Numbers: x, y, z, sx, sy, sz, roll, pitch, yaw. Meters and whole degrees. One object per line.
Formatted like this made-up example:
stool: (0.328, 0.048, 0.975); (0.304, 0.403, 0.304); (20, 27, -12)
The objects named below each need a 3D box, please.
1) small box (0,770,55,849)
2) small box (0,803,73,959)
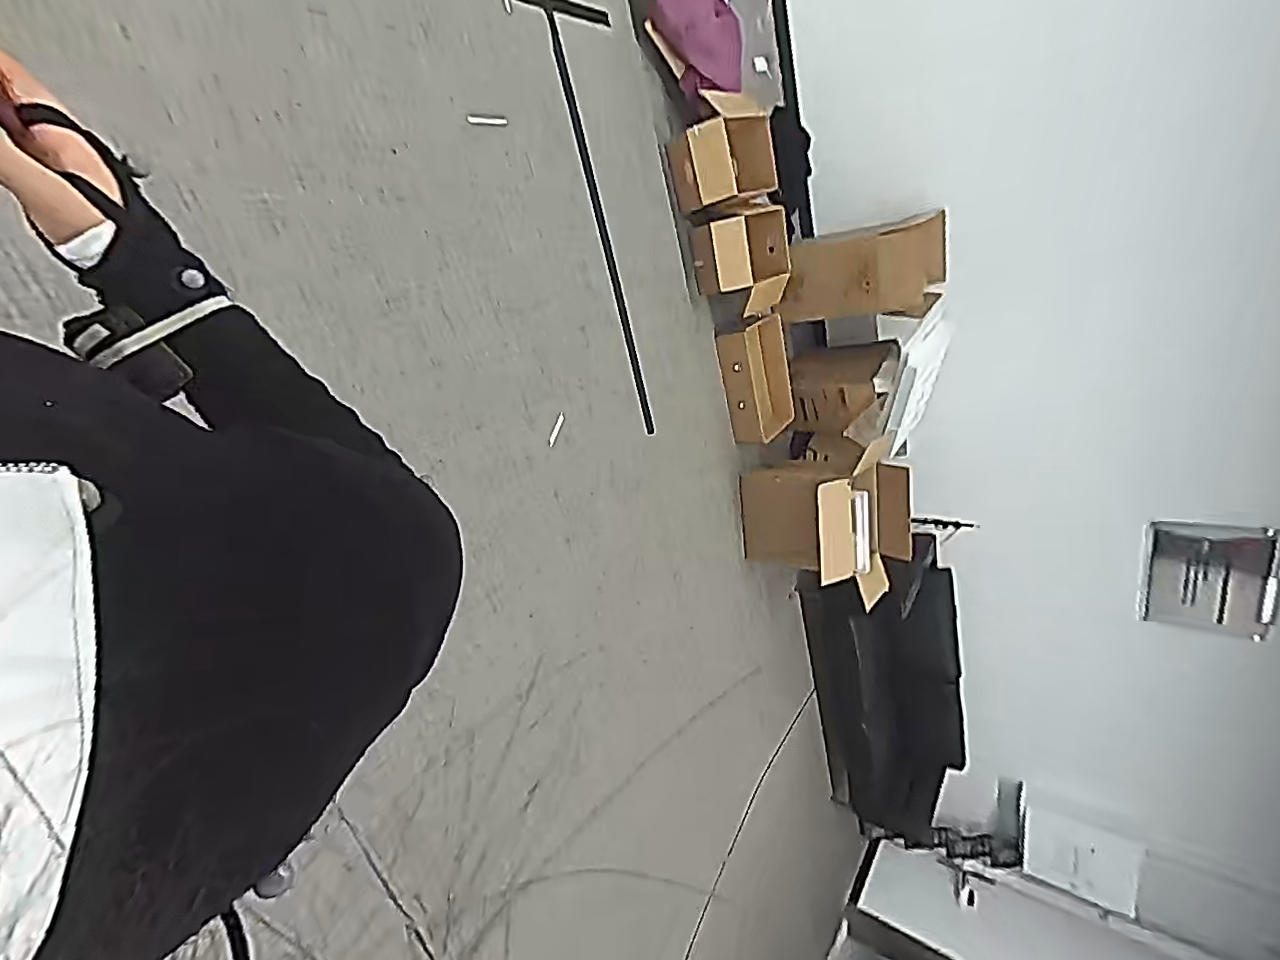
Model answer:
small box: (-1.087, 0.586, 0.852); (0.168, 0.176, 0.179); (-38, 120, -42)
small box: (-0.957, 0.592, 0.754); (0.168, 0.176, 0.179); (-41, 123, -42)
